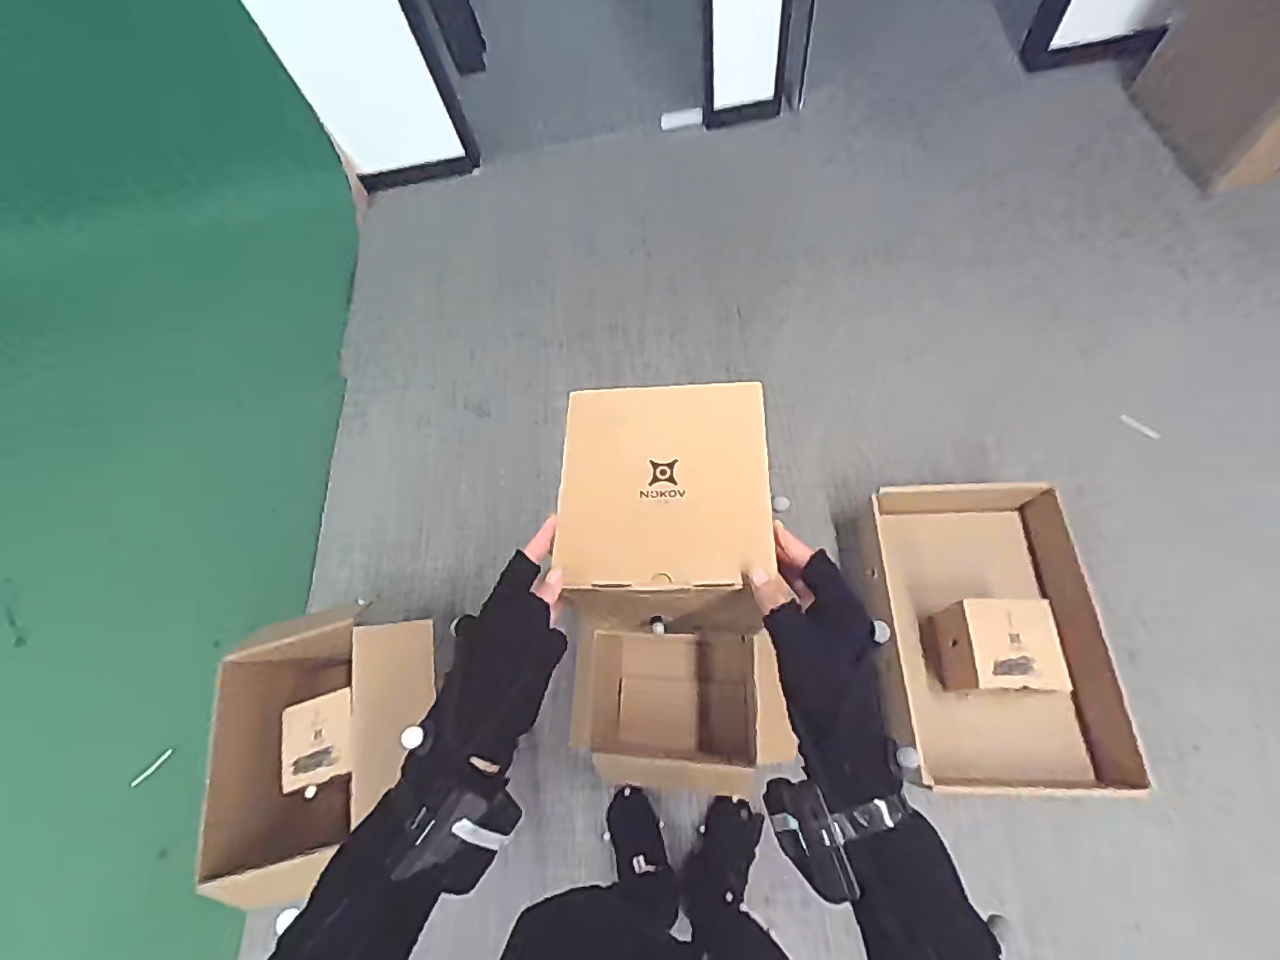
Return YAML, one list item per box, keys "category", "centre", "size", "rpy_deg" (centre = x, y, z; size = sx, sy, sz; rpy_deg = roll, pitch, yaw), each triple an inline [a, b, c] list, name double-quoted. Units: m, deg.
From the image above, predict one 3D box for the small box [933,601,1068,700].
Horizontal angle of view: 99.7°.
- category: "small box"
  centre: [0.741, 0.361, 1.133]
  size: [0.168, 0.176, 0.179]
  rpy_deg: [0, 64, 7]

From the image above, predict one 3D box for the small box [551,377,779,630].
- category: "small box"
  centre: [0.029, 0.030, 0.489]
  size: [0.168, 0.176, 0.179]
  rpy_deg: [-2, 64, 8]
